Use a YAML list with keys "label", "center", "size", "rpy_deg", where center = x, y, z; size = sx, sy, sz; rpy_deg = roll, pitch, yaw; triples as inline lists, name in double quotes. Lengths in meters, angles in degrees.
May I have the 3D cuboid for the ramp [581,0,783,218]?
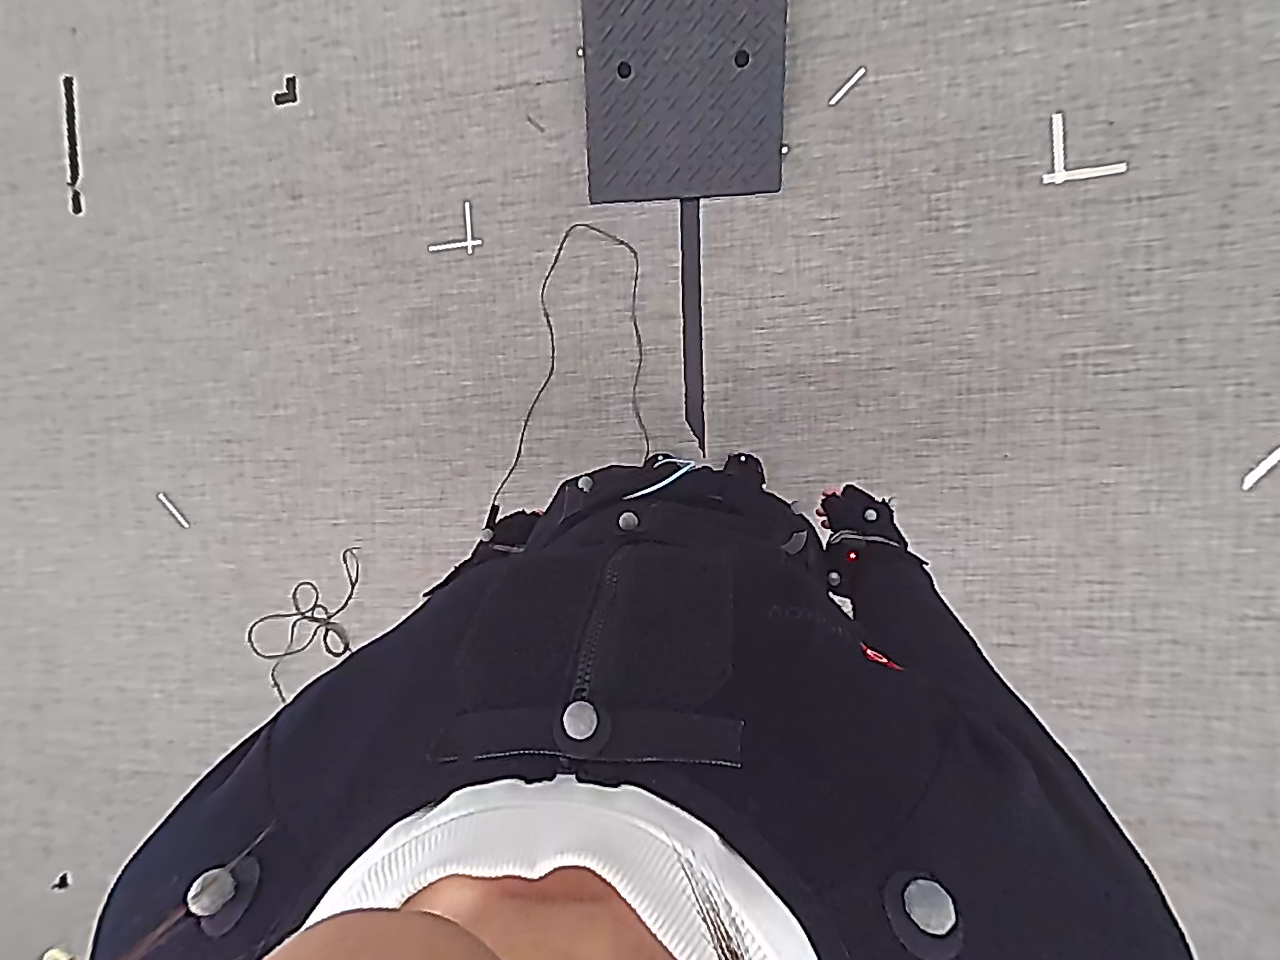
- label: "ramp"
  center: [0.097, -1.192, 1.307]
  size: [0.509, 0.206, 0.991]
  rpy_deg: [-3, 93, 8]
